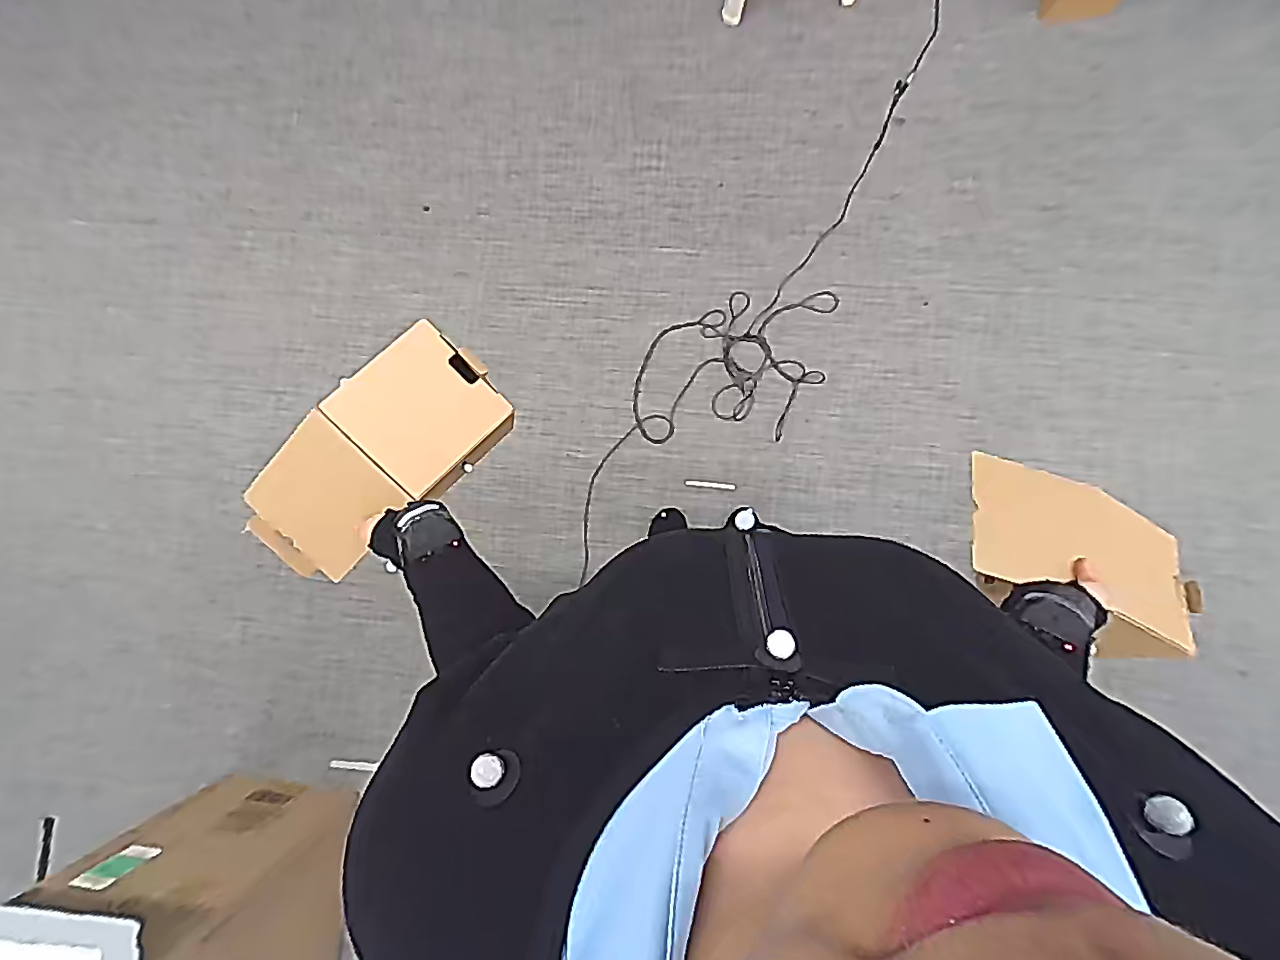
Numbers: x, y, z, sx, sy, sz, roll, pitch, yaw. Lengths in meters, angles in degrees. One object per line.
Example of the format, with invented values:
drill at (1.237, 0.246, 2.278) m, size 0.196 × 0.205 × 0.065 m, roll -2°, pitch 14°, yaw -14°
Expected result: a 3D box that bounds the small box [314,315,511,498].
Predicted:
small box at (-0.298, -0.088, 0.752) m, size 0.179 × 0.176 × 0.168 m, roll -45°, pitch 98°, yaw -12°
